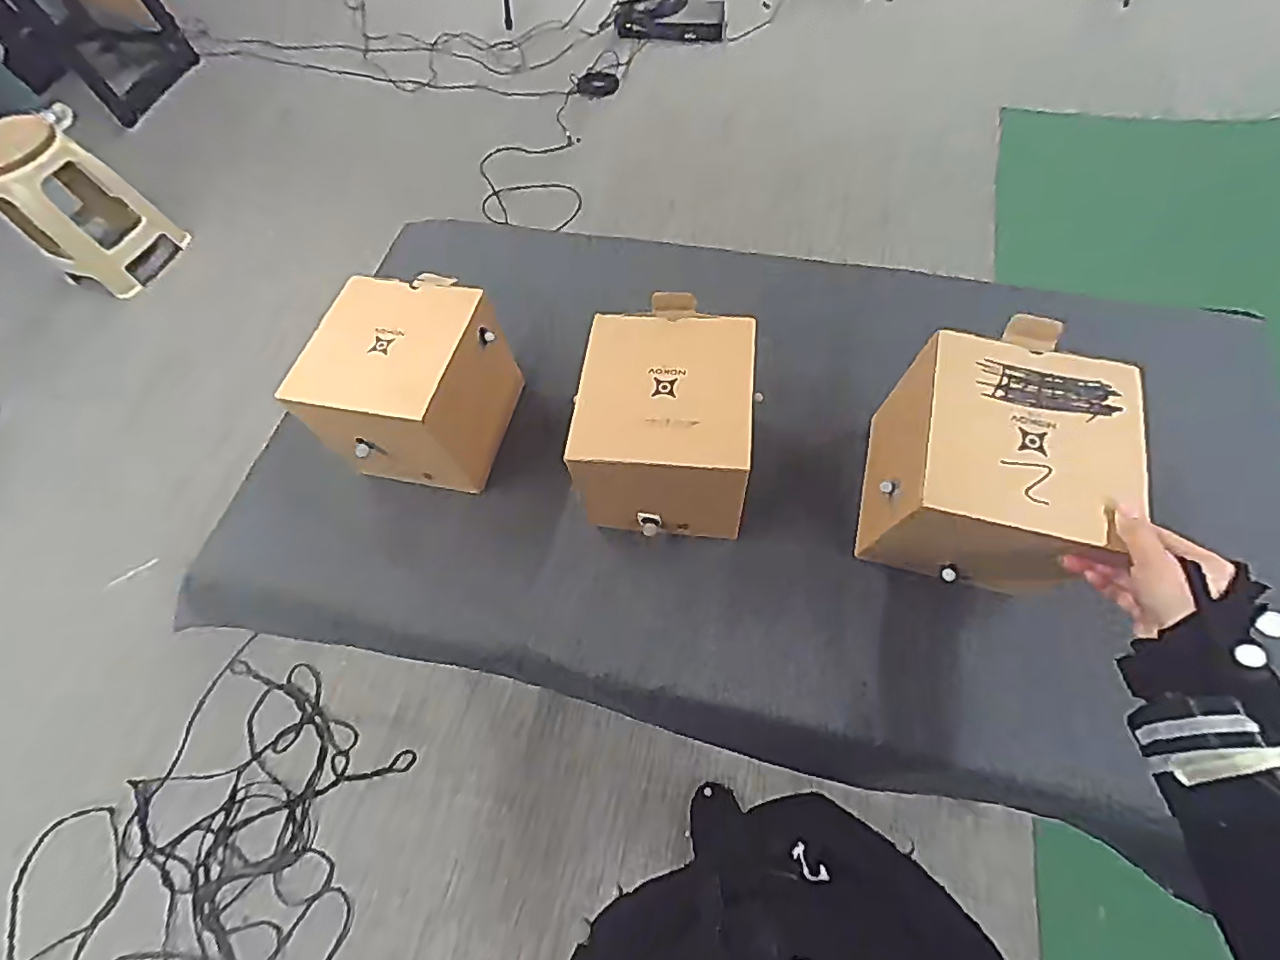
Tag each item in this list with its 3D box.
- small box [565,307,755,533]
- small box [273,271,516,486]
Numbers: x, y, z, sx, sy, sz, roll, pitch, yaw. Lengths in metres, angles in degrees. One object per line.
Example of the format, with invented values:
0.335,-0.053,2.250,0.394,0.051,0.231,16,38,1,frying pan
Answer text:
0.030,-0.059,0.575,0.168,0.176,0.179,2,63,8,small box
-0.261,-0.110,0.627,0.168,0.176,0.179,9,63,10,small box
